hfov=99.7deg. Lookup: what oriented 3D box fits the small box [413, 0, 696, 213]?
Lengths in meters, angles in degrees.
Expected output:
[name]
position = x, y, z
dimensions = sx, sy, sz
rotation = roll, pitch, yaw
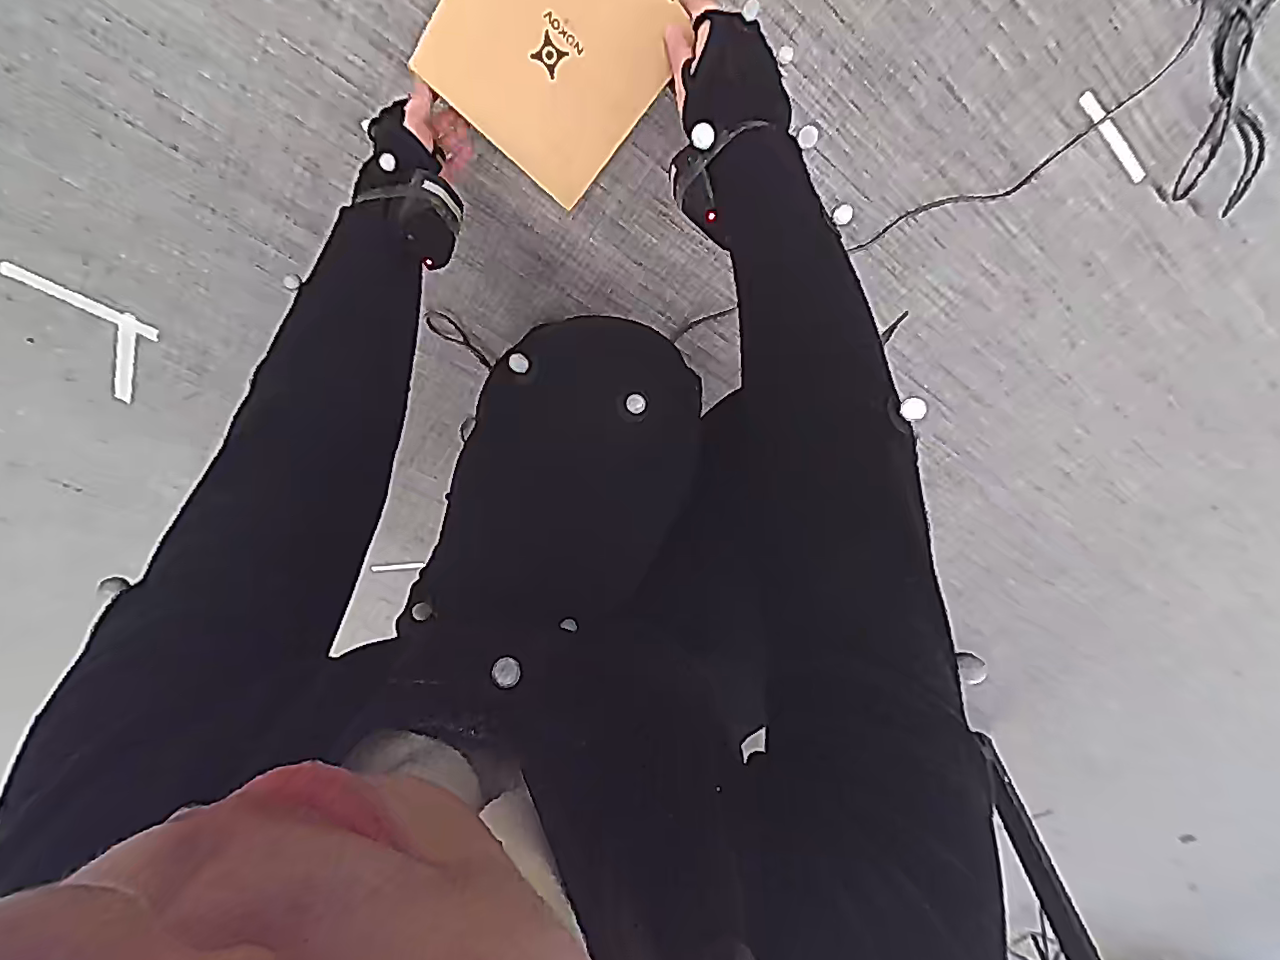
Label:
[small box]
position = -0.068, -0.387, 0.493
dimensions = 0.168, 0.176, 0.179
rotation = 35, 121, -24
